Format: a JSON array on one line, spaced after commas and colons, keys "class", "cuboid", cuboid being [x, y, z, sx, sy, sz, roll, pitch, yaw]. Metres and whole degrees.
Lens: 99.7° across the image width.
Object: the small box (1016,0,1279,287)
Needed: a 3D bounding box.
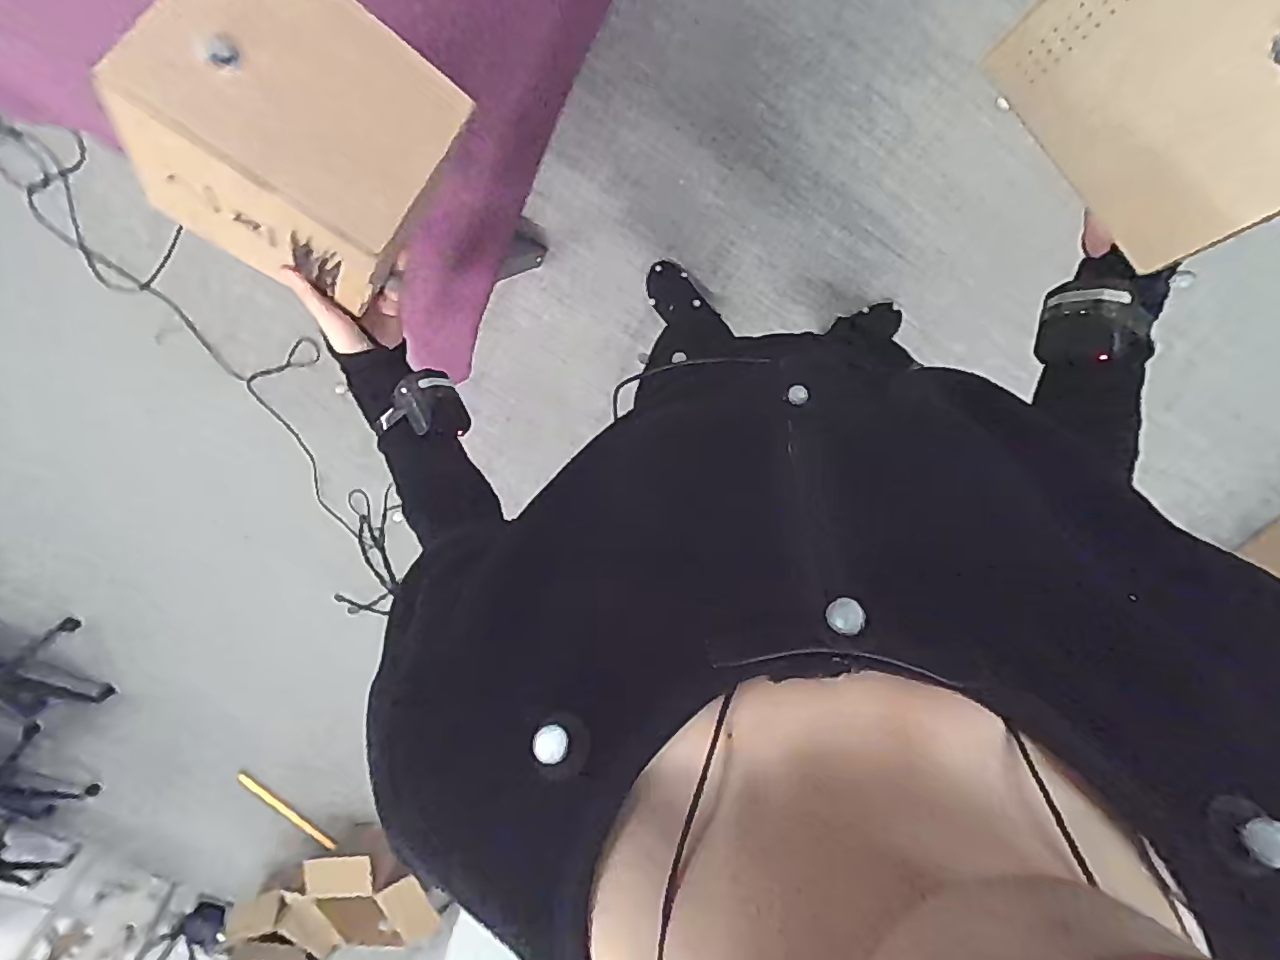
[{"class": "small box", "cuboid": [0.335, -0.247, 0.280, 0.176, 0.168, 0.179, 44, 152, -7]}]
